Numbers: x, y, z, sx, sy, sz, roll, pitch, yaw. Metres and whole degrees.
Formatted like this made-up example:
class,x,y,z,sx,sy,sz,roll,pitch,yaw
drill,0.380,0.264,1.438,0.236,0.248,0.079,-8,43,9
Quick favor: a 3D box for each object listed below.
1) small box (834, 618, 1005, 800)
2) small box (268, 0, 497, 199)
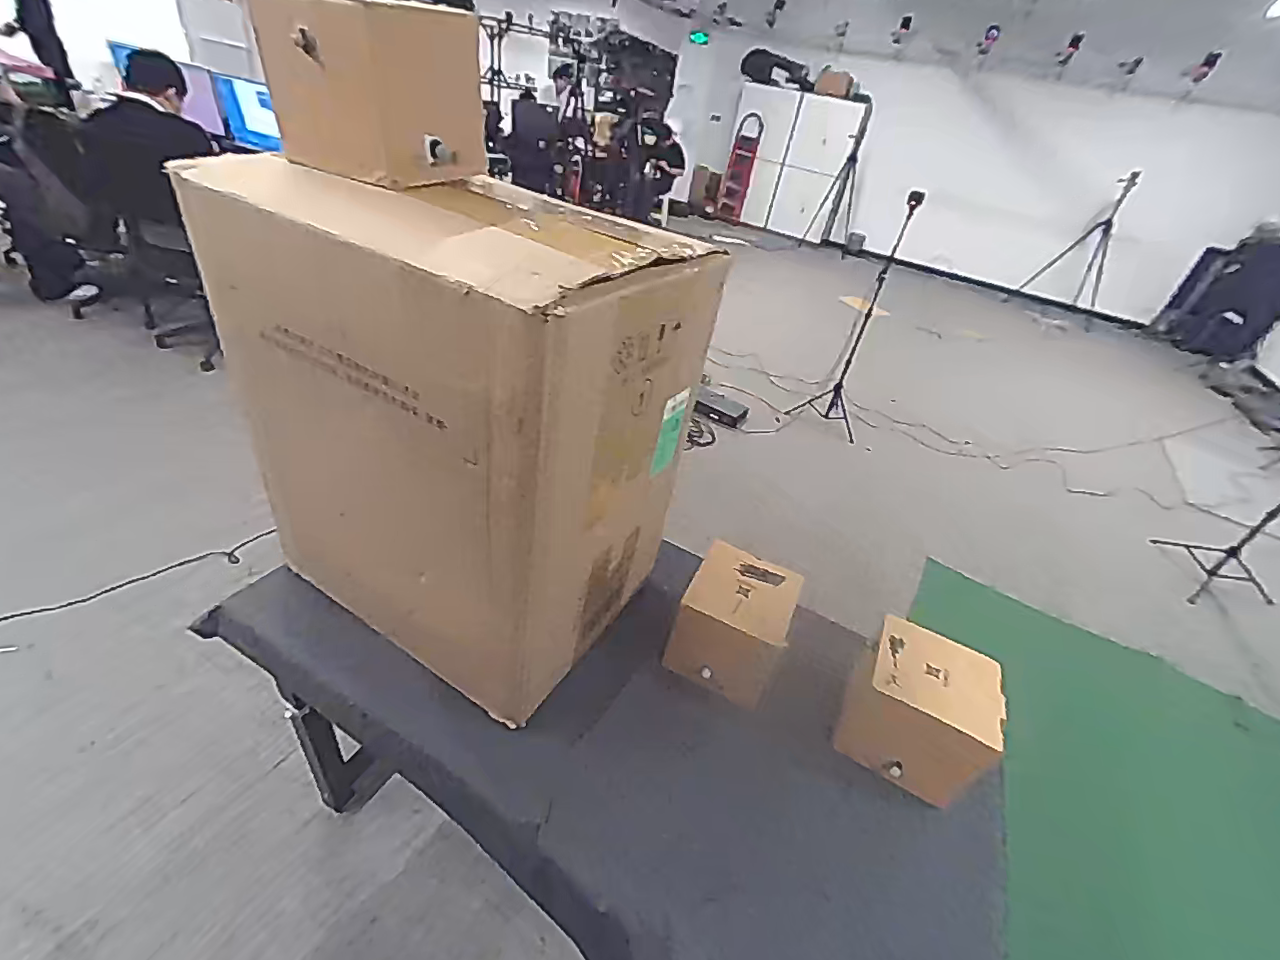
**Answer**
class,x,y,z,sx,sy,sz,roll,pitch,yaw
small box,0.430,0.358,0.842,0.179,0.176,0.168,25,37,19
small box,-0.293,-0.455,0.653,0.179,0.176,0.168,23,42,15
